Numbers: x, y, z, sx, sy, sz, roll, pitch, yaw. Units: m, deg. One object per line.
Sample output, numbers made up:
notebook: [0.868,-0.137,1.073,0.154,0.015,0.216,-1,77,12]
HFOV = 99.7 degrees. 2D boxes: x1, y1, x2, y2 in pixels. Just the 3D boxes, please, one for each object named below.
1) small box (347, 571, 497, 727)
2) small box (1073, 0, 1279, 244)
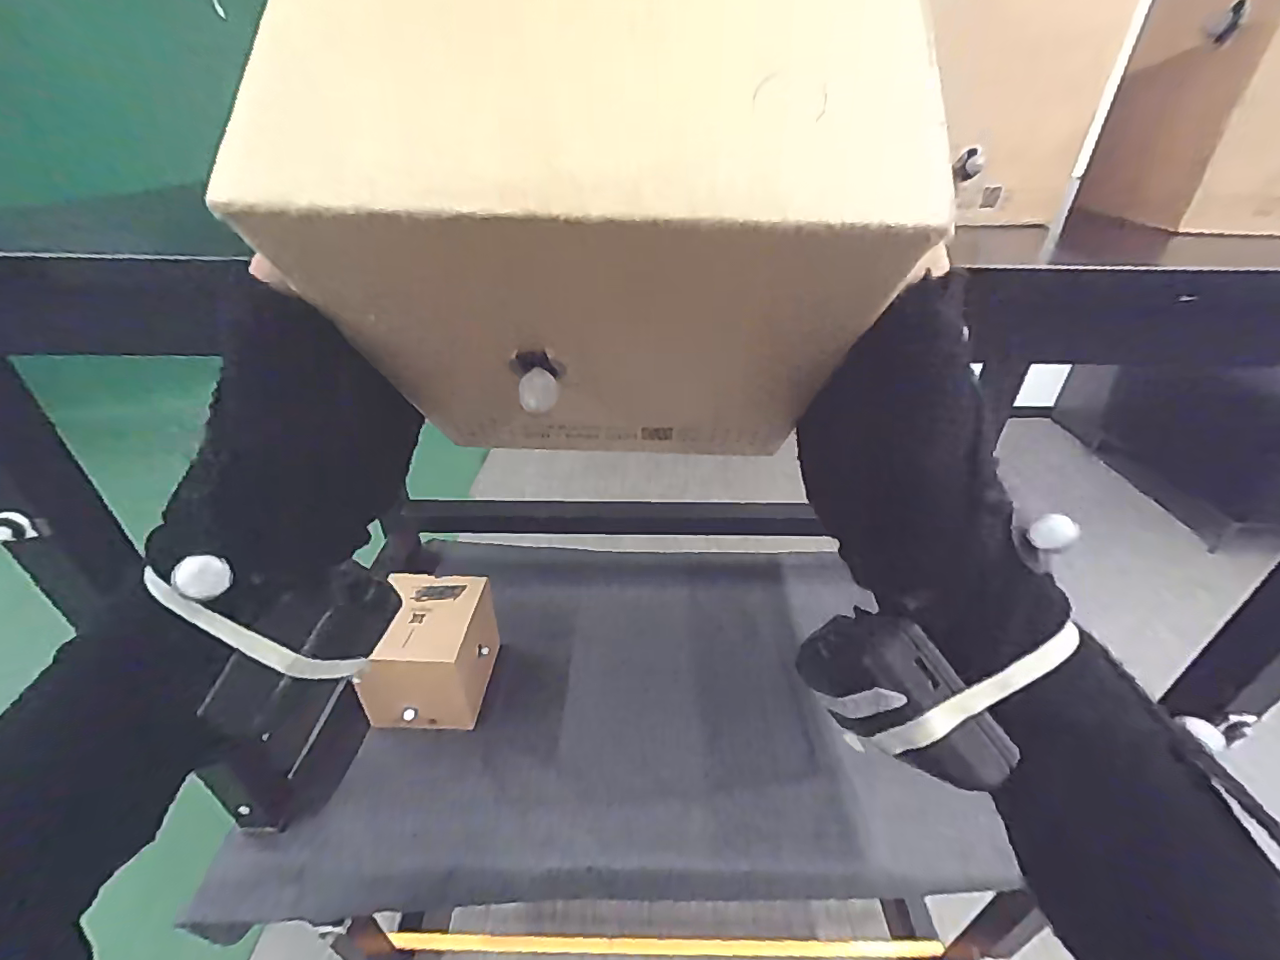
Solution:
small box: [-0.339,0.272,0.883,0.168,0.176,0.179,2,34,1]
small box: [0.486,-0.281,0.411,0.168,0.176,0.179,7,34,9]
